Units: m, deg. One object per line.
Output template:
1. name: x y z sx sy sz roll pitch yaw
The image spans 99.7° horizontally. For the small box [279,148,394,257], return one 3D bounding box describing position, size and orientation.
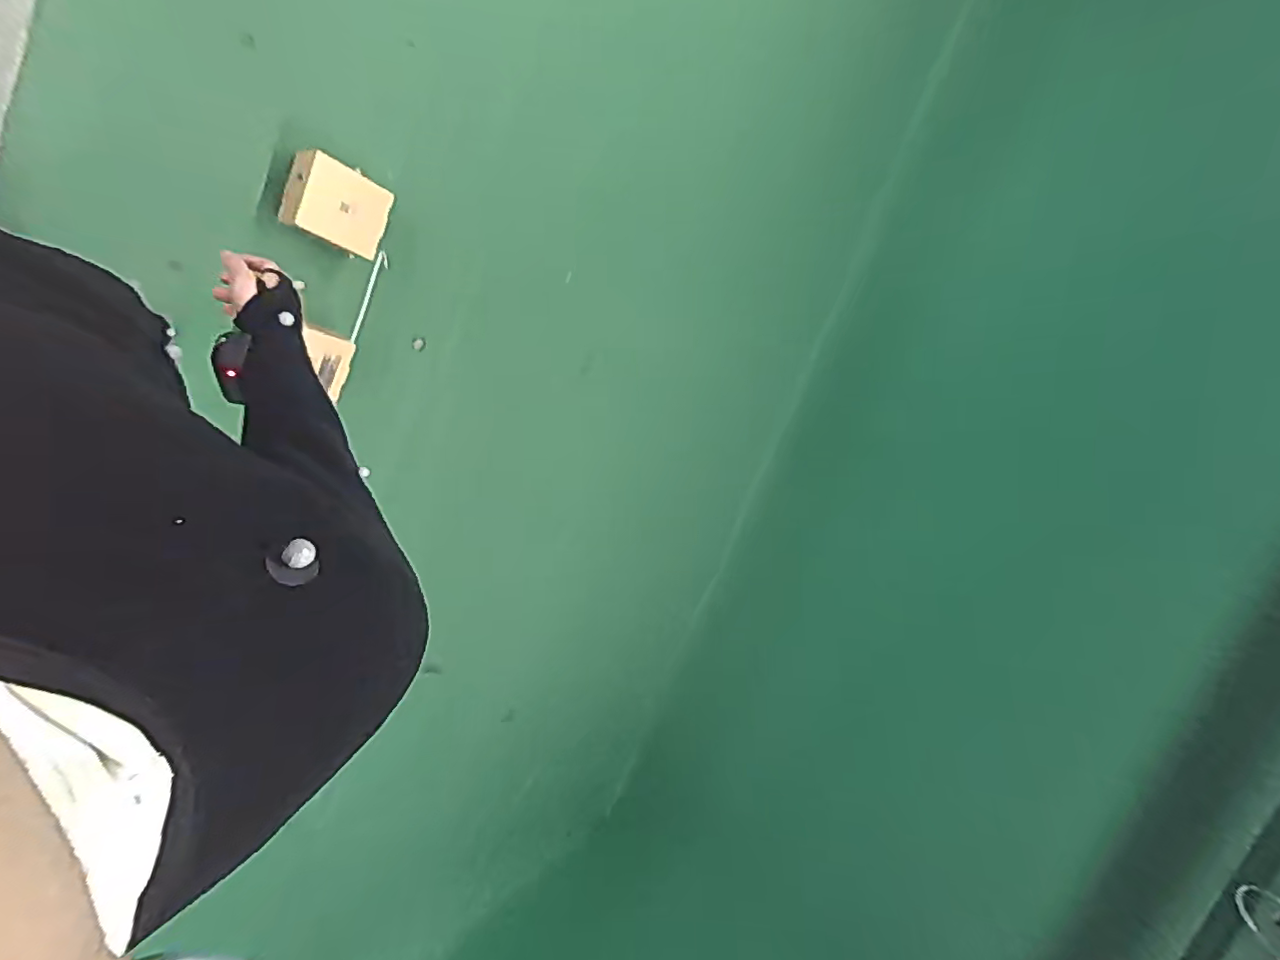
1. small box: -0.725 -0.653 1.283 0.179 0.176 0.168 15 101 -51
